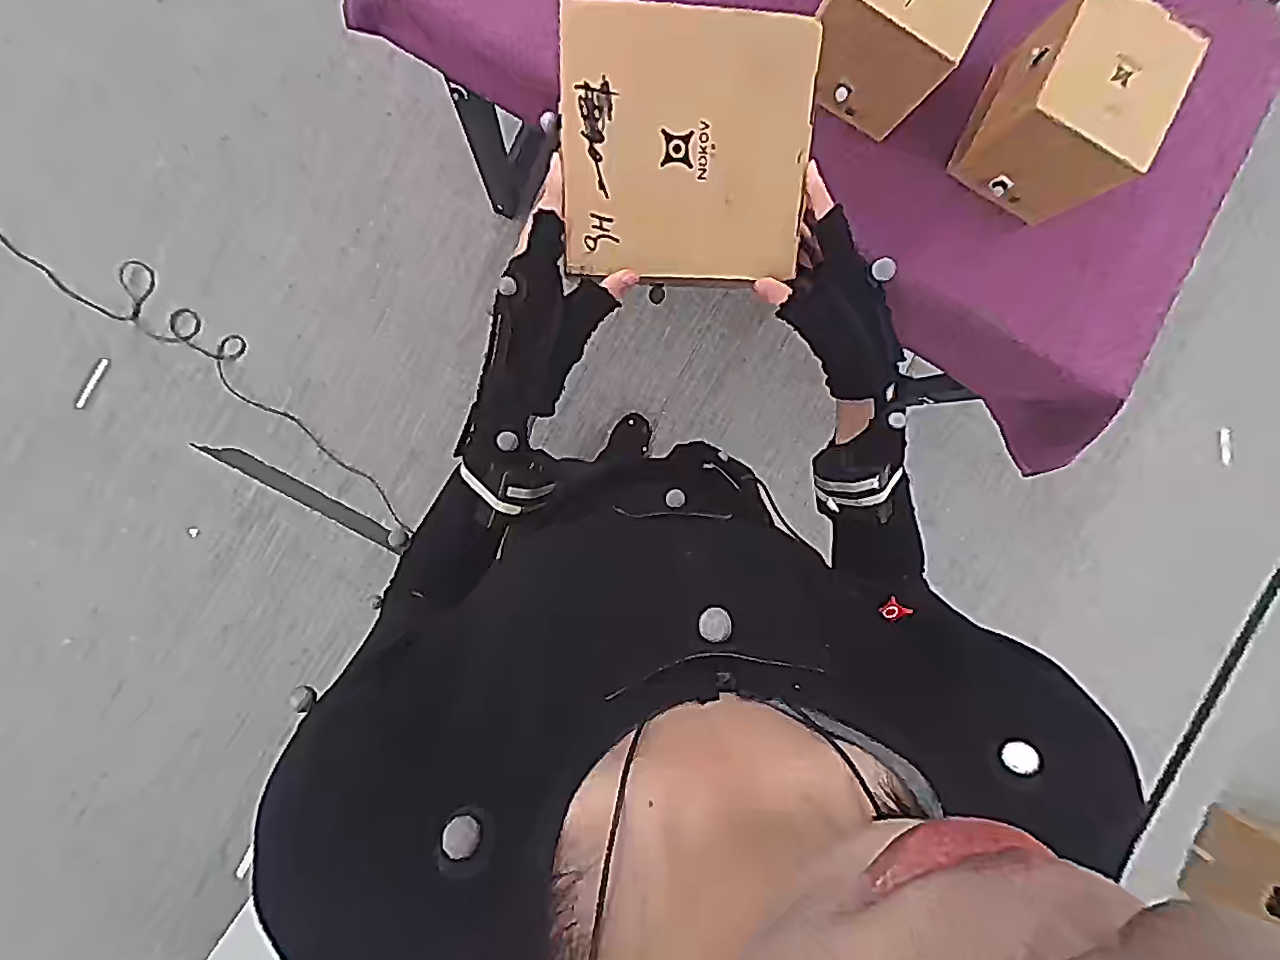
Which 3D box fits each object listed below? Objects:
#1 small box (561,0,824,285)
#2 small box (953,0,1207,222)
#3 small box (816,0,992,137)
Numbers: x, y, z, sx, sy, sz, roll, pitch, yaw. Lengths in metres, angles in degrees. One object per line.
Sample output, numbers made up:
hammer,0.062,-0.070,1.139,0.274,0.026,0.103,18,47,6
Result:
small box,0.025,-0.255,0.447,0.179,0.176,0.168,-1,107,-7
small box,0.561,-0.485,0.716,0.168,0.176,0.179,25,92,-6
small box,0.319,-0.589,0.680,0.168,0.176,0.179,26,91,-7
